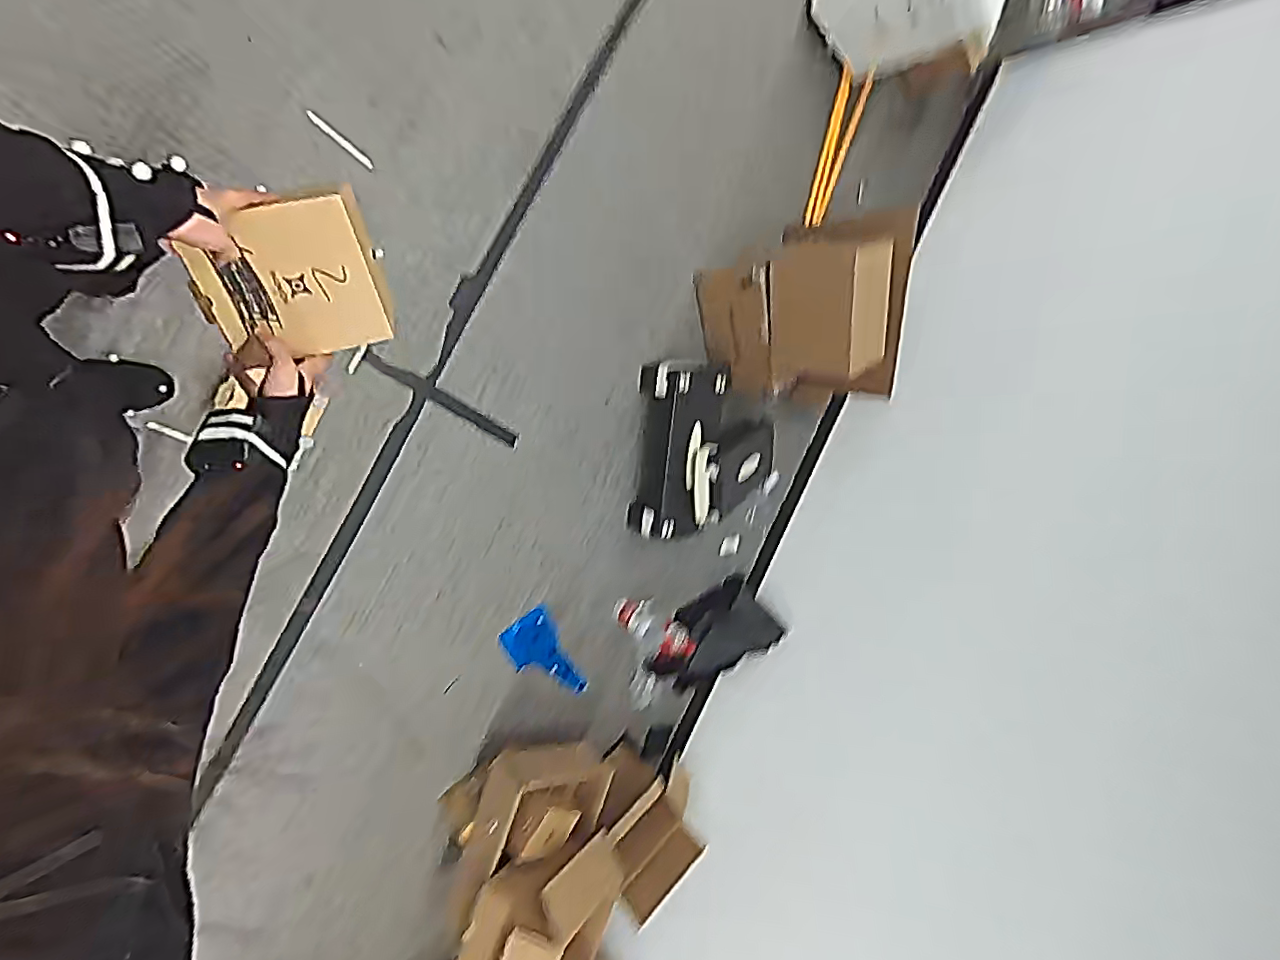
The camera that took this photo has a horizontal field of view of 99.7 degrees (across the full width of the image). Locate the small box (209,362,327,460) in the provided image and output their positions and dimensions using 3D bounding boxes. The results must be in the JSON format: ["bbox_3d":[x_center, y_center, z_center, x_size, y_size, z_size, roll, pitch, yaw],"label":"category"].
[{"bbox_3d":[-0.881,-0.168,1.280,0.179,0.176,0.168,29,85,-41],"label":"small box"}]
